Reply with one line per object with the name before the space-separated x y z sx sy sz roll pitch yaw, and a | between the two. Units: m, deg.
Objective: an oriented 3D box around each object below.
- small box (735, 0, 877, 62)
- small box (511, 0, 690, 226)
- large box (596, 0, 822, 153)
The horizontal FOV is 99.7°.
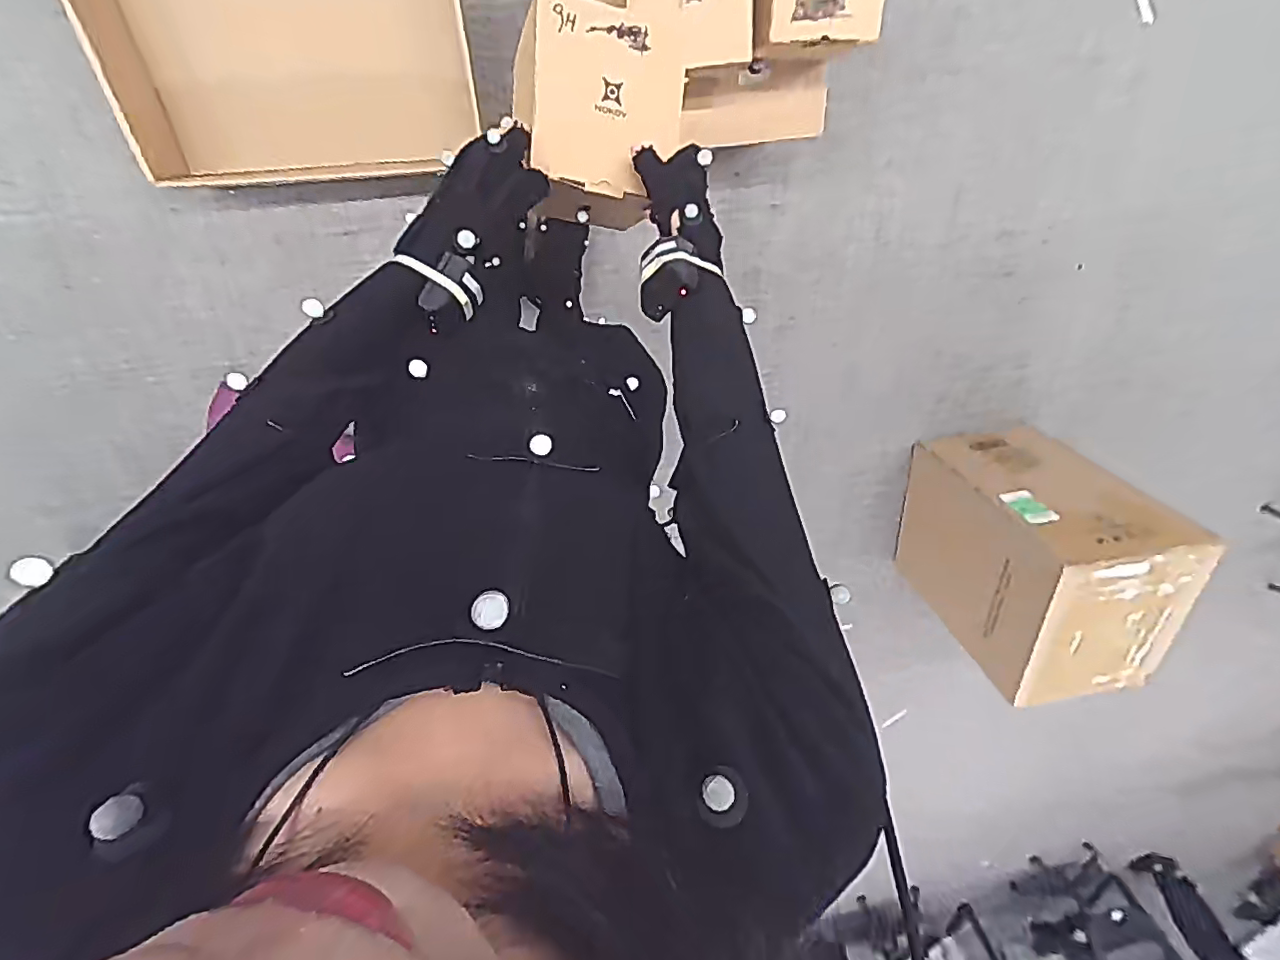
small box | 0.248 -0.750 0.815 0.168 0.176 0.179 -5 120 -6
small box | -0.059 -0.422 0.649 0.168 0.176 0.179 2 103 -22
large box | 0.096 -0.816 1.037 0.408 0.320 0.320 -10 122 -5
